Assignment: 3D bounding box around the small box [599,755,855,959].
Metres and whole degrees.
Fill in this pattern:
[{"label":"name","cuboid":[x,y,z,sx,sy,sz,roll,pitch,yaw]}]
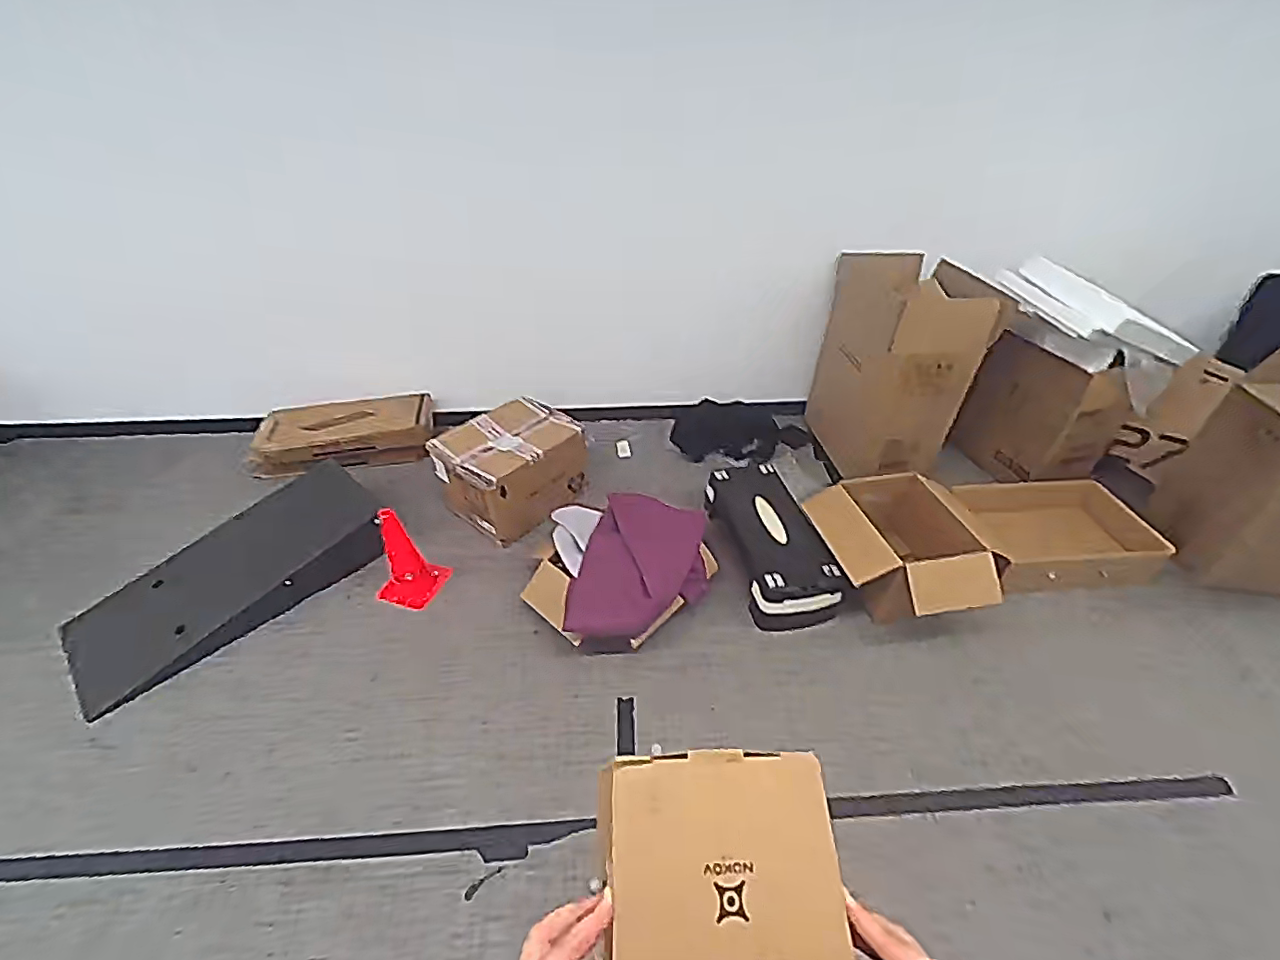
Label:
[{"label":"small box","cuboid":[0.053,0.332,0.442,0.168,0.176,0.179,2,59,-7]}]
